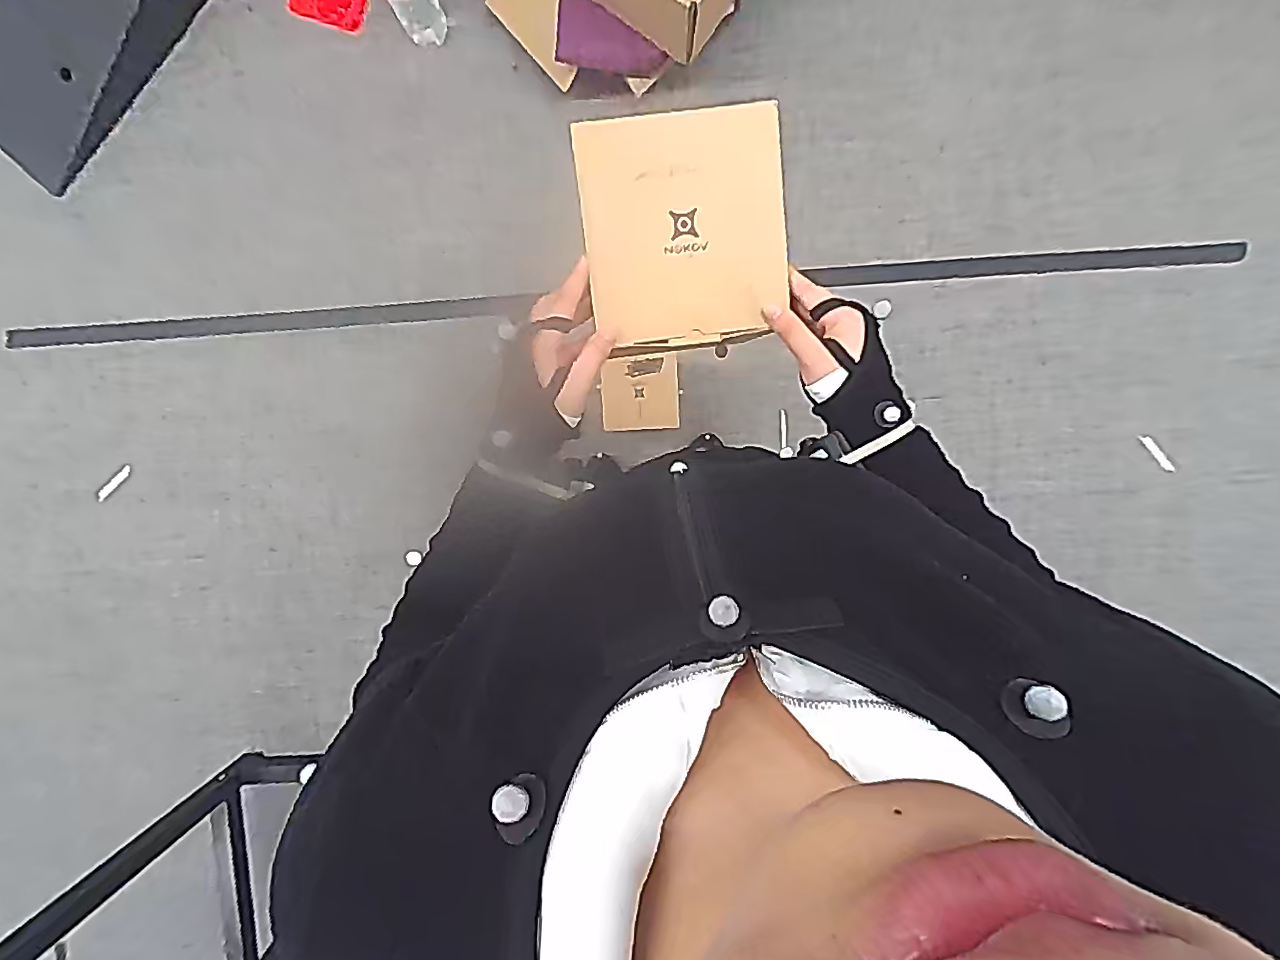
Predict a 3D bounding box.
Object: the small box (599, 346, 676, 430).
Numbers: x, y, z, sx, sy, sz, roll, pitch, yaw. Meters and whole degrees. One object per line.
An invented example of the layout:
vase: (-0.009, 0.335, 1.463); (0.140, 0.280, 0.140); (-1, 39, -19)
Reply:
small box: (-0.006, -0.204, 1.234); (0.168, 0.176, 0.179); (-2, 96, 1)

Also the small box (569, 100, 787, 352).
small box: (0.031, -0.219, 0.516); (0.168, 0.176, 0.179); (-8, 100, -2)
